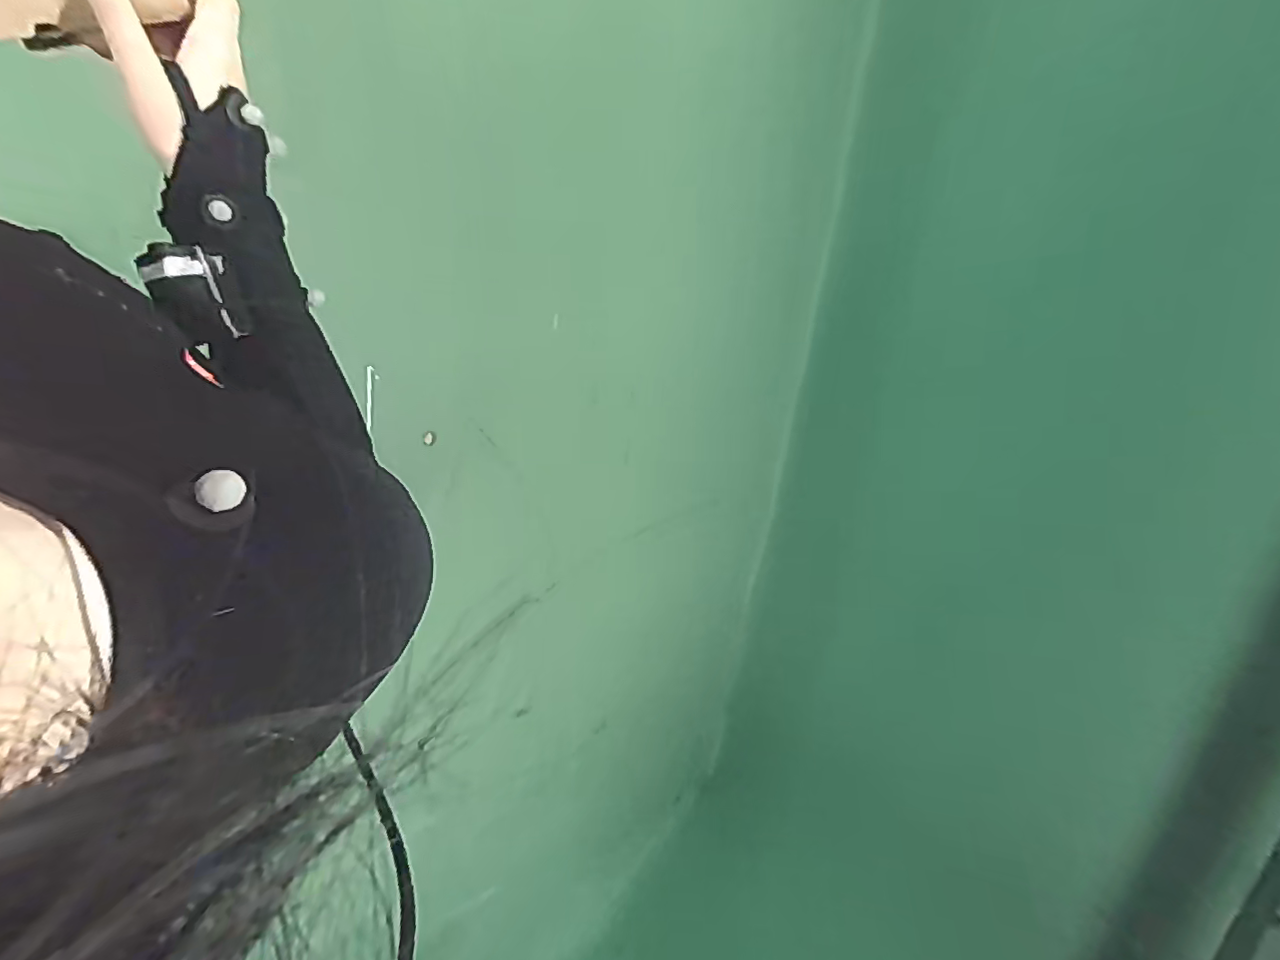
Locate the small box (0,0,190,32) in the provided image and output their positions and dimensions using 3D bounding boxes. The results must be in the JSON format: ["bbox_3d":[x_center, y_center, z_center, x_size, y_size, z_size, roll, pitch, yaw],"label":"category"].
[{"bbox_3d":[-0.389,-0.381,0.280,0.168,0.176,0.179,-20,161,-14],"label":"small box"}]
